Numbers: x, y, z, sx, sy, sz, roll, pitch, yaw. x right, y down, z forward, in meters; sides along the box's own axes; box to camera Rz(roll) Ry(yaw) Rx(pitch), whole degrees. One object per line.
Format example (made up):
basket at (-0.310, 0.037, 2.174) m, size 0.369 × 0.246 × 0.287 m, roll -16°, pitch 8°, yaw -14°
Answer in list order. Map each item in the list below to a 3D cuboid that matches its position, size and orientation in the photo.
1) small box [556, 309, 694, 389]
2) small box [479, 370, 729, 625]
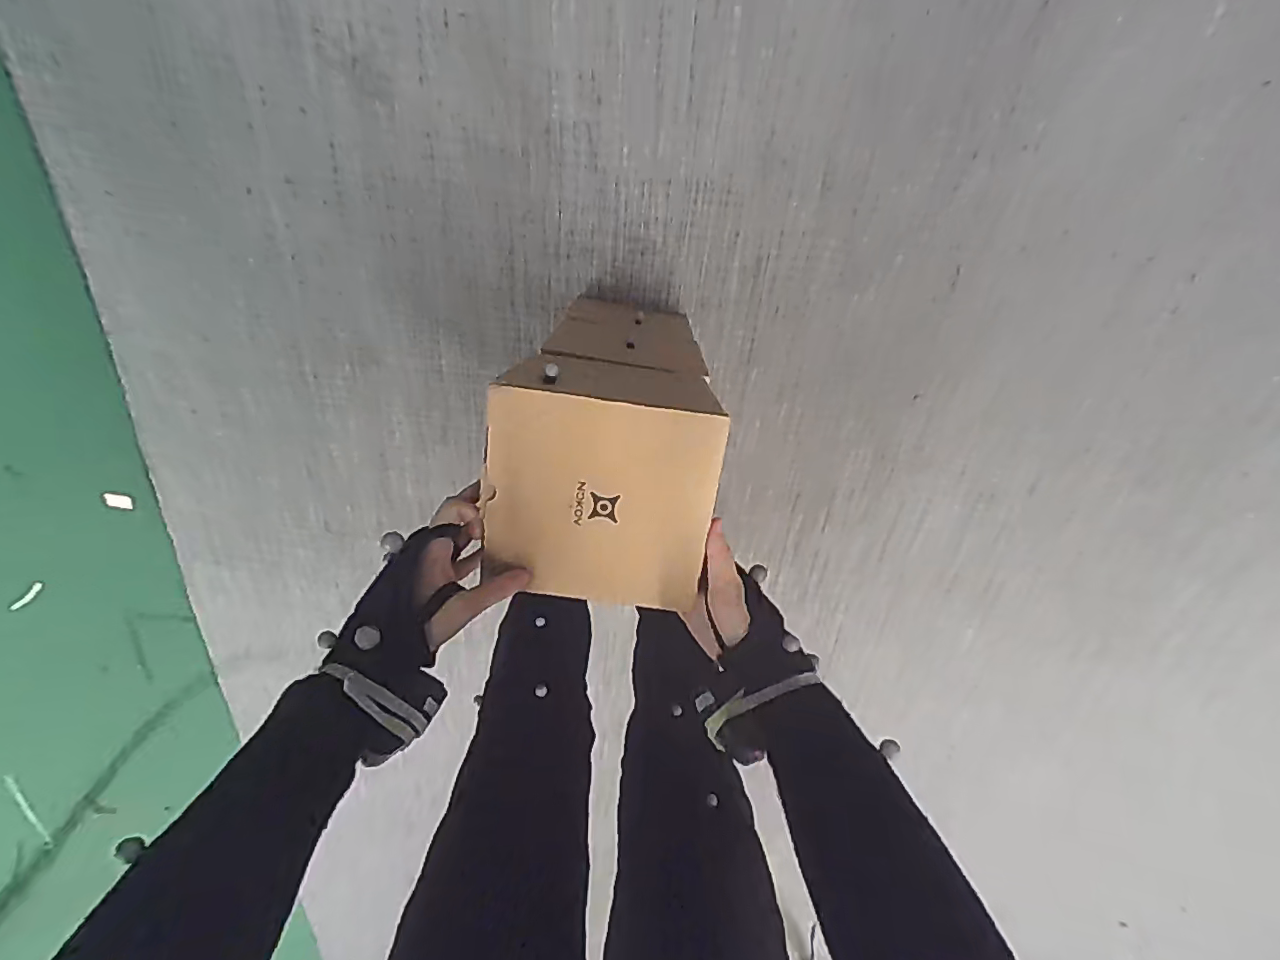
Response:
small box at (-0.029, -0.145, 0.794) m, size 0.179 × 0.176 × 0.168 m, roll 11°, pitch 116°, yaw -4°
small box at (-0.030, 0.003, 0.485) m, size 0.179 × 0.176 × 0.168 m, roll 9°, pitch 110°, yaw 0°
